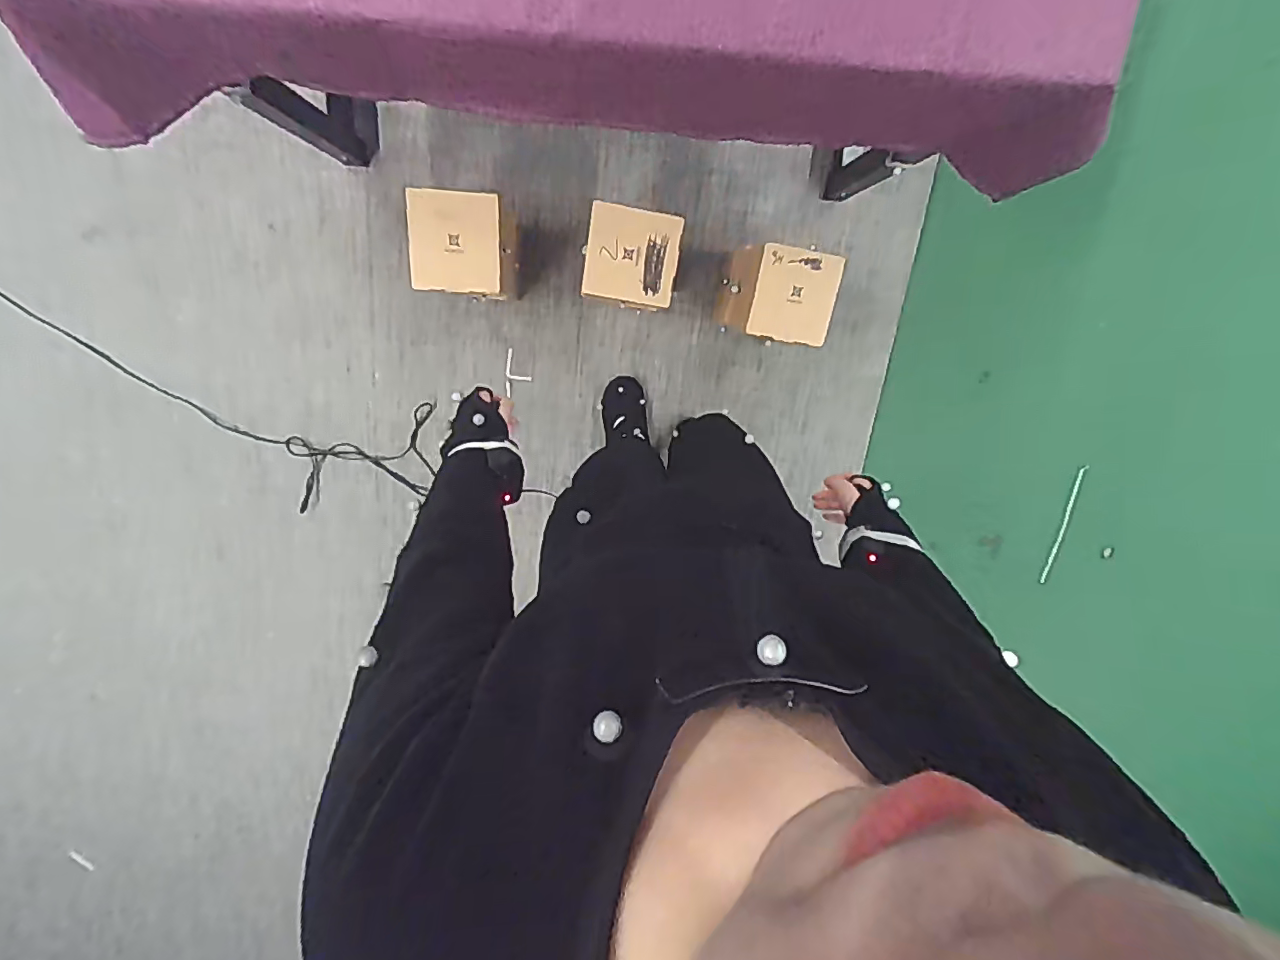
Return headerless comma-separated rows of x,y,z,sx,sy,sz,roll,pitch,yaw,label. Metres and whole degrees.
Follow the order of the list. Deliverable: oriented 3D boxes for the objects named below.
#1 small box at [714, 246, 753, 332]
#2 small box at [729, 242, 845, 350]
0.285,-0.438,1.294,0.168,0.176,0.179,14,105,-8,small box
0.297,-0.384,1.137,0.168,0.176,0.179,10,108,-8,small box
